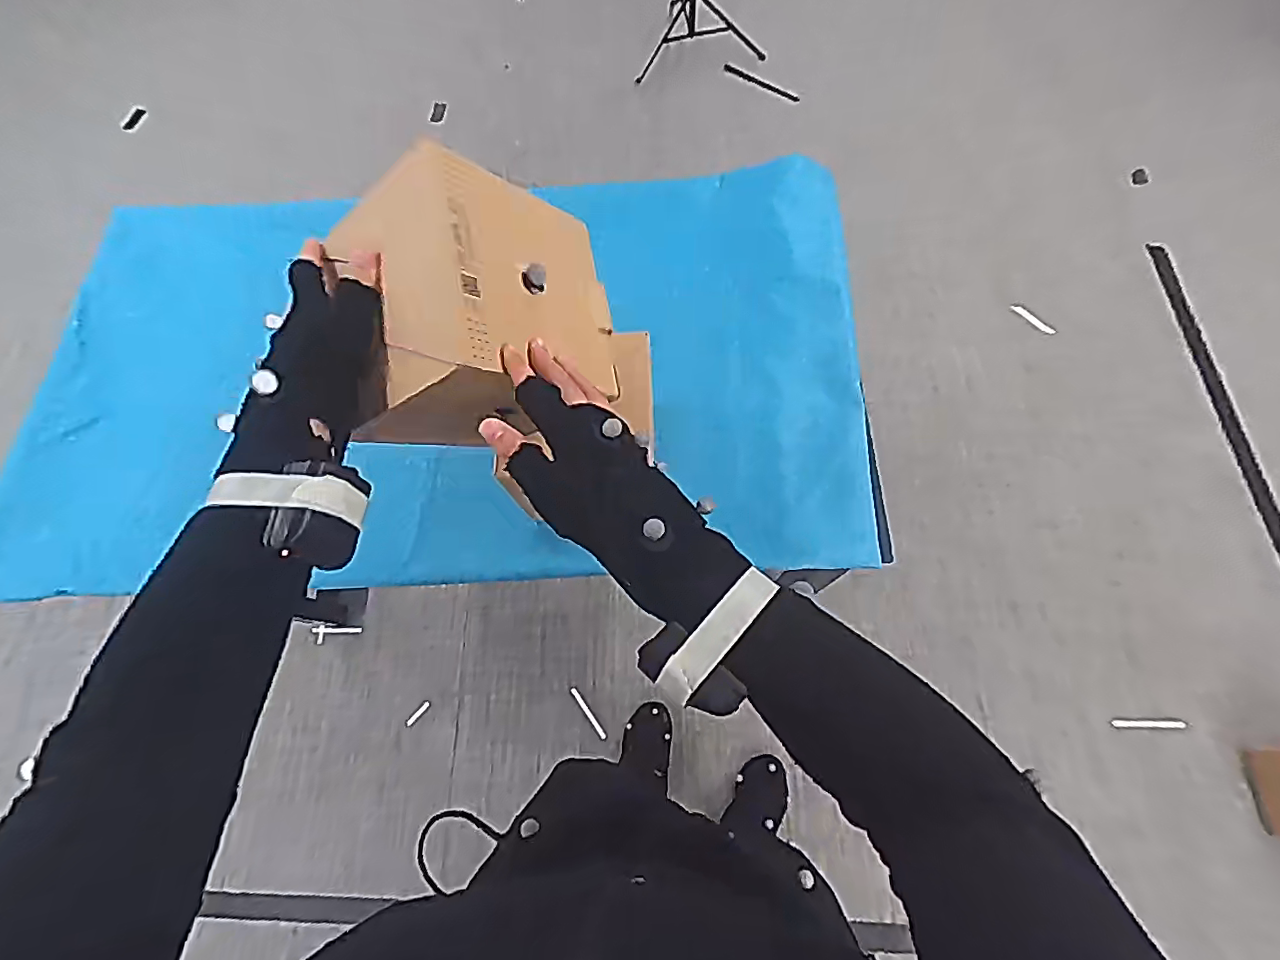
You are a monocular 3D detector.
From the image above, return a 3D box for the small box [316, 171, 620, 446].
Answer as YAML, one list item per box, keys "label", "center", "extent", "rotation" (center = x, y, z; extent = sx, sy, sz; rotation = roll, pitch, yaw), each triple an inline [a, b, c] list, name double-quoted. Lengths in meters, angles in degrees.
- label: "small box"
  center: [-0.149, -0.129, 0.466]
  extent: [0.179, 0.176, 0.168]
  rotation: [-17, 81, 38]

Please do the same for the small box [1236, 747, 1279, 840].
- label: "small box"
  center: [1.383, 0.646, 1.084]
  extent: [0.168, 0.176, 0.179]
  rotation: [1, 69, 4]

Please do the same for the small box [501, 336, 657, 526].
- label: "small box"
  center: [-0.066, -0.052, 0.668]
  extent: [0.168, 0.176, 0.179]
  rotation: [-1, 69, 2]
